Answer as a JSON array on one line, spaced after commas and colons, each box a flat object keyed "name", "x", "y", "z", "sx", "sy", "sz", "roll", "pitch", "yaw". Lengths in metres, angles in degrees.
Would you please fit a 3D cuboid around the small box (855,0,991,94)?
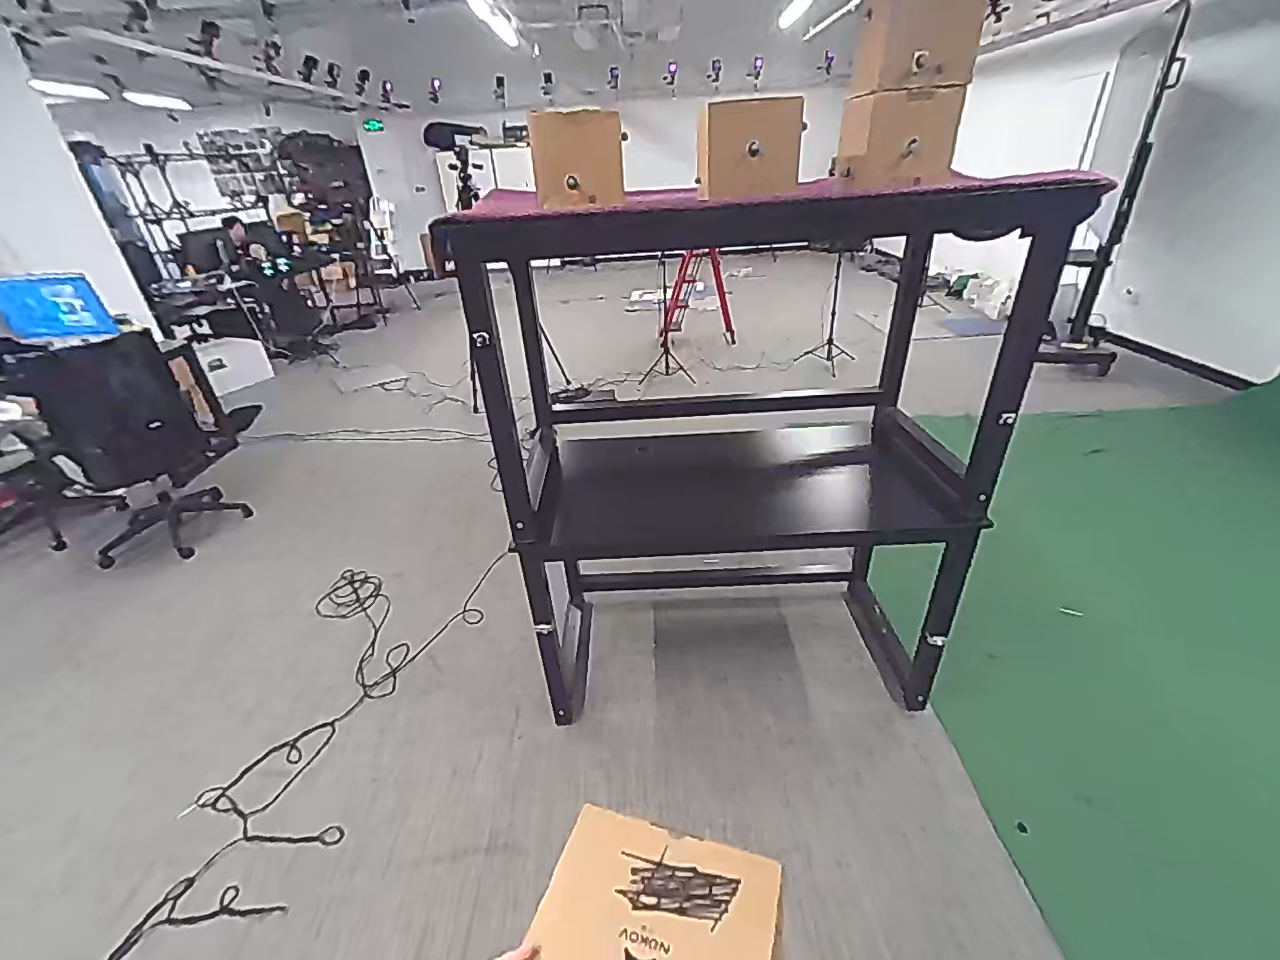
[{"name": "small box", "x": 0.501, "y": -0.802, "z": 0.977, "sx": 0.168, "sy": 0.176, "sz": 0.179, "roll": -2, "pitch": 32, "yaw": 5}]

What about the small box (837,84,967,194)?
[{"name": "small box", "x": 0.500, "y": -0.662, "z": 1.061, "sx": 0.168, "sy": 0.176, "sz": 0.179, "roll": -3, "pitch": 31, "yaw": 2}]

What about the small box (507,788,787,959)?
[{"name": "small box", "x": 0.011, "y": 0.375, "z": 0.393, "sx": 0.168, "sy": 0.176, "sz": 0.179, "roll": 3, "pitch": 28, "yaw": 21}]

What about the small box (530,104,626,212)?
[{"name": "small box", "x": -0.115, "y": -0.622, "z": 1.056, "sx": 0.168, "sy": 0.176, "sz": 0.179, "roll": -4, "pitch": 30, "yaw": -3}]
